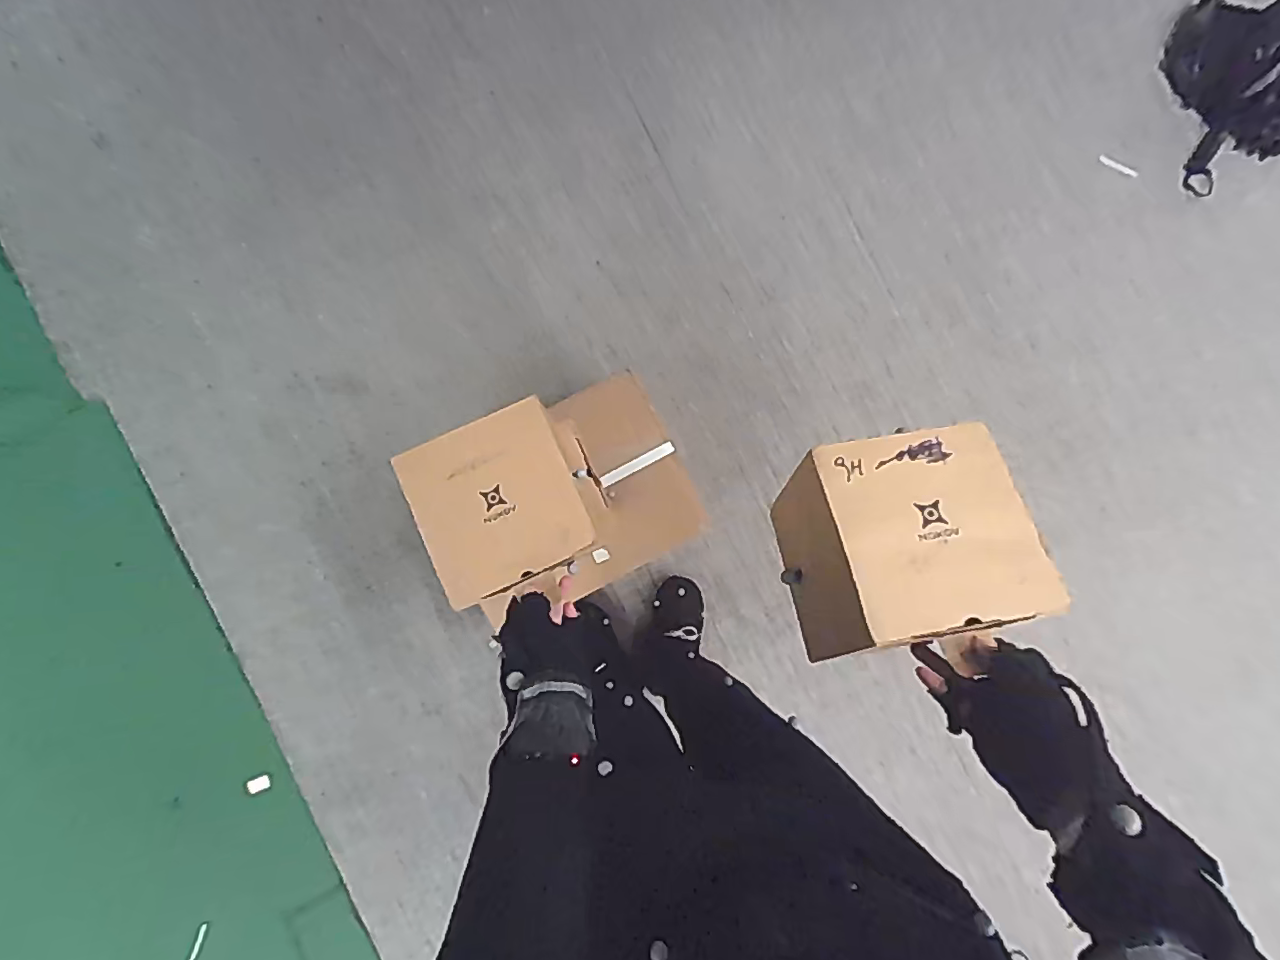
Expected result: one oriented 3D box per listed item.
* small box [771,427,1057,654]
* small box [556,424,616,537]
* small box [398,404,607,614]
[{"bbox_3d":[0.244,0.071,0.536,0.168,0.176,0.179,-8,68,-5],"label":"small box"},{"bbox_3d":[-0.146,0.023,0.815,0.179,0.176,0.168,-20,93,-3],"label":"small box"},{"bbox_3d":[-0.146,0.035,0.642,0.168,0.176,0.179,-25,84,-4],"label":"small box"}]
